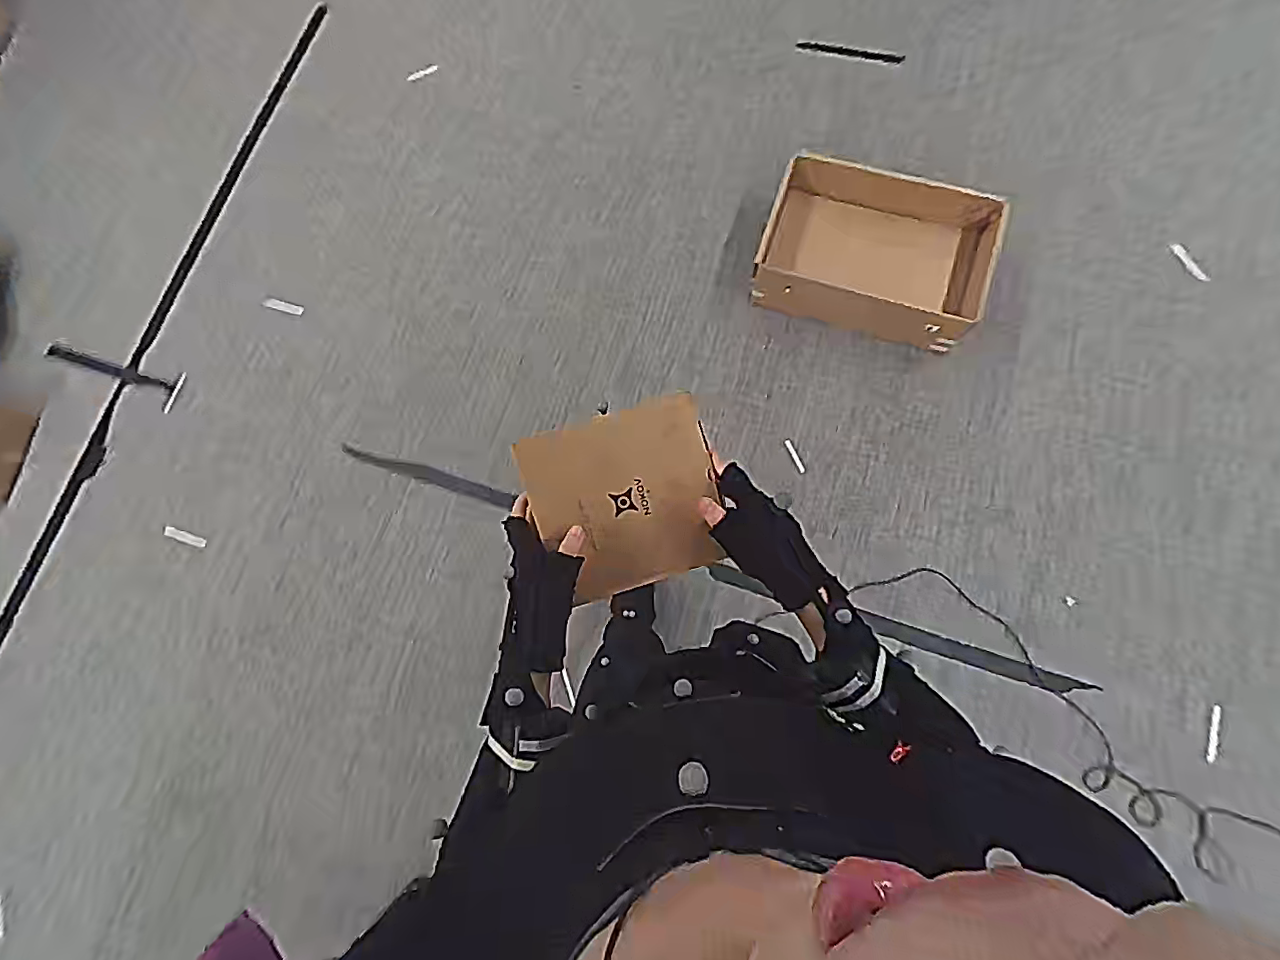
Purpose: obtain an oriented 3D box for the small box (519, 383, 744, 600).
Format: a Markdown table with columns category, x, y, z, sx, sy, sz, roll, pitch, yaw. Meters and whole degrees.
| category | x | y | z | sx | sy | sz | roll | pitch | yaw |
| --- | --- | --- | --- | --- | --- | --- | --- | --- | --- |
| small box | -0.012 | 0.003 | 0.579 | 0.179 | 0.176 | 0.168 | -18 | 96 | -2 |
